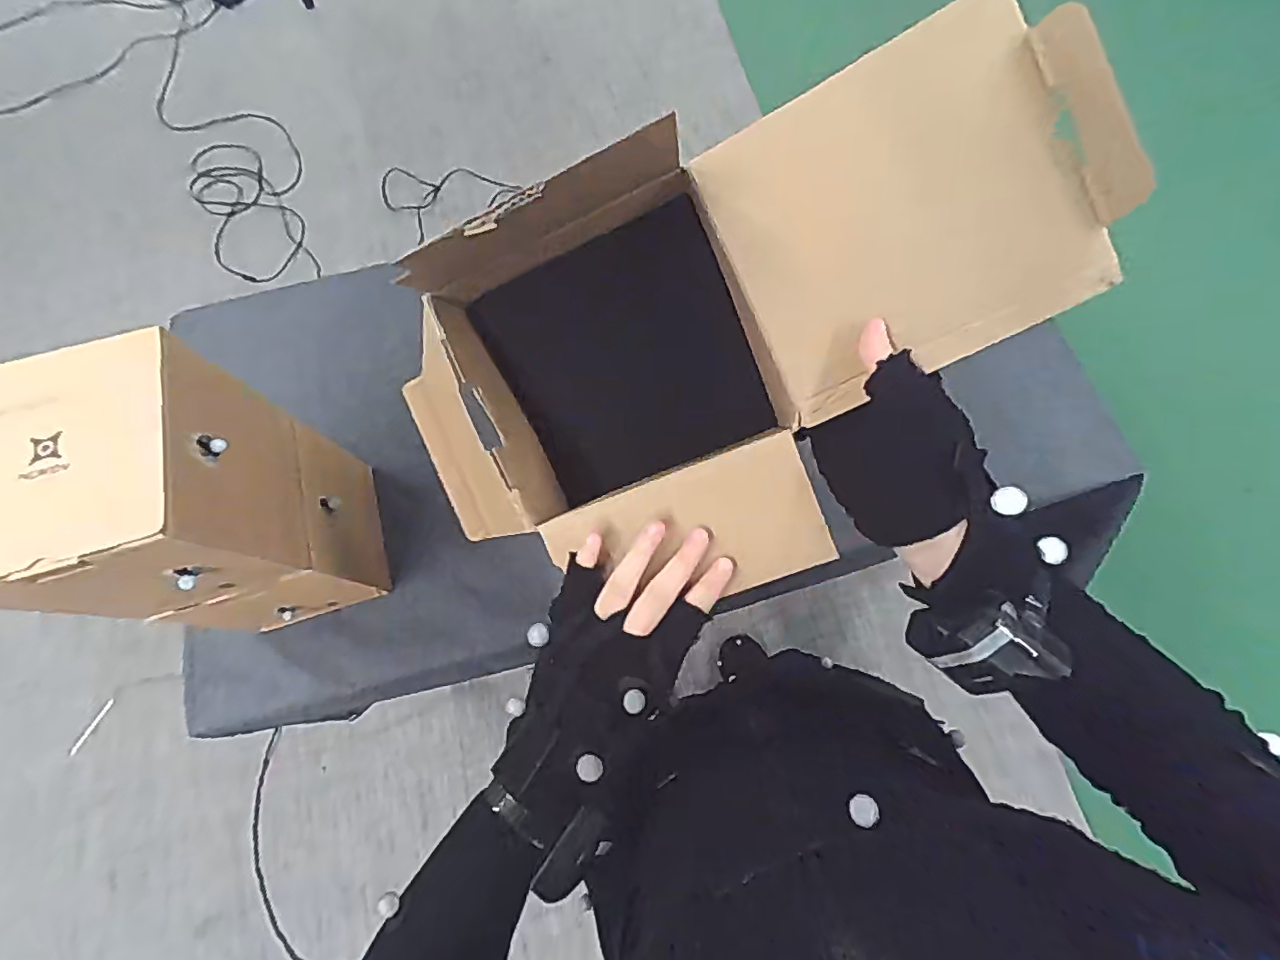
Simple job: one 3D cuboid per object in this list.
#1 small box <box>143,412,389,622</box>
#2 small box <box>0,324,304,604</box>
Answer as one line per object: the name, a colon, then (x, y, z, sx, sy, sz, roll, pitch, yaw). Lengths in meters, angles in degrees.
small box: (-0.413, 0.052, 0.618, 0.168, 0.176, 0.179, -17, 73, -4)
small box: (-0.419, 0.002, 0.463, 0.168, 0.176, 0.179, -15, 72, -4)
